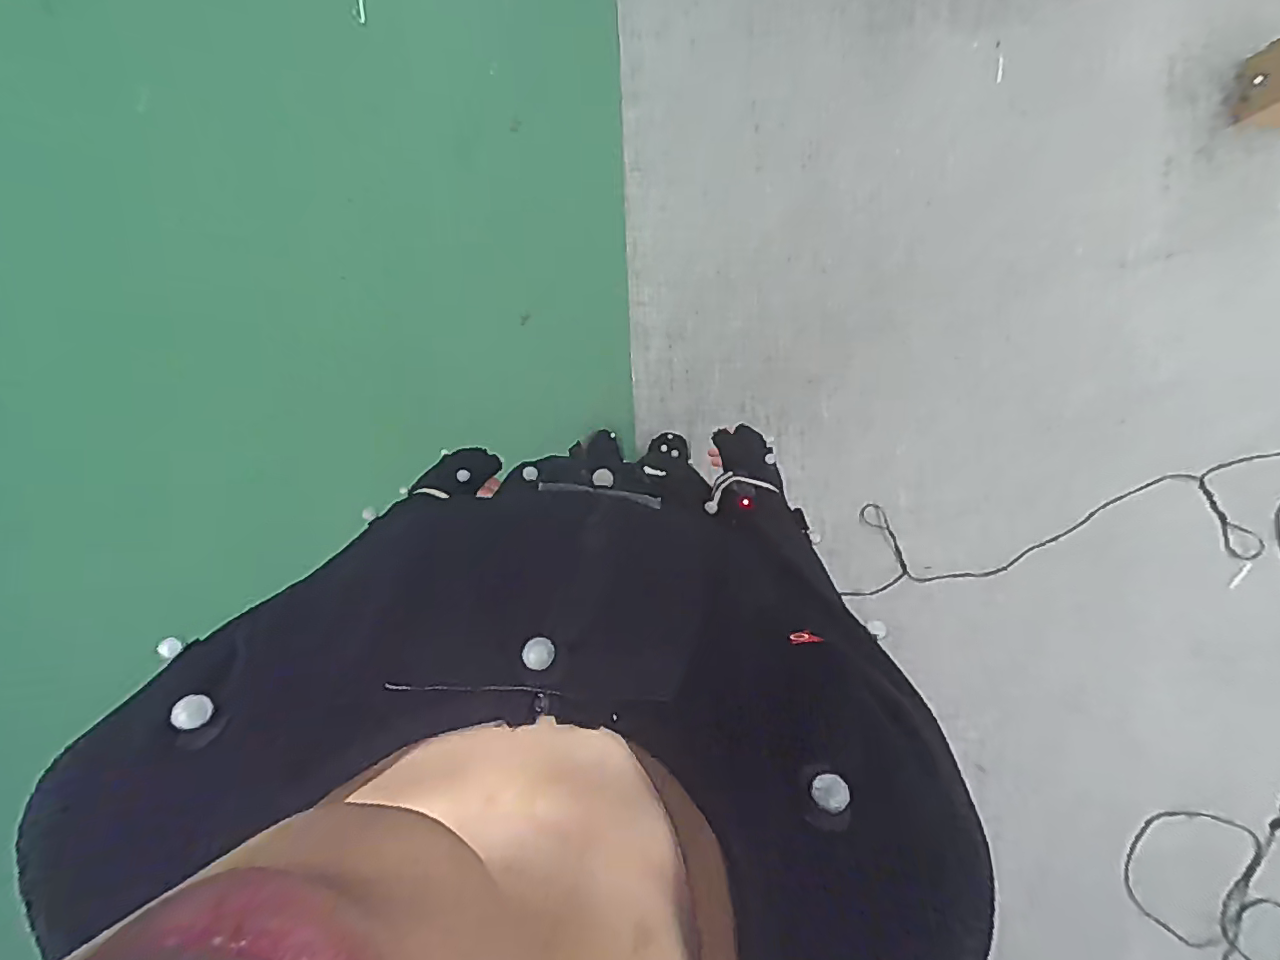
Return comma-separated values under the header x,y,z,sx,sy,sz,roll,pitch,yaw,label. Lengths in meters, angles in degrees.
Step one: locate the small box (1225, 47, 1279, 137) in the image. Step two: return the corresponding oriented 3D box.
x,y,z,sx,sy,sz,roll,pitch,yaw,label
1.649,-0.991,1.355,0.179,0.176,0.168,2,93,0,small box
